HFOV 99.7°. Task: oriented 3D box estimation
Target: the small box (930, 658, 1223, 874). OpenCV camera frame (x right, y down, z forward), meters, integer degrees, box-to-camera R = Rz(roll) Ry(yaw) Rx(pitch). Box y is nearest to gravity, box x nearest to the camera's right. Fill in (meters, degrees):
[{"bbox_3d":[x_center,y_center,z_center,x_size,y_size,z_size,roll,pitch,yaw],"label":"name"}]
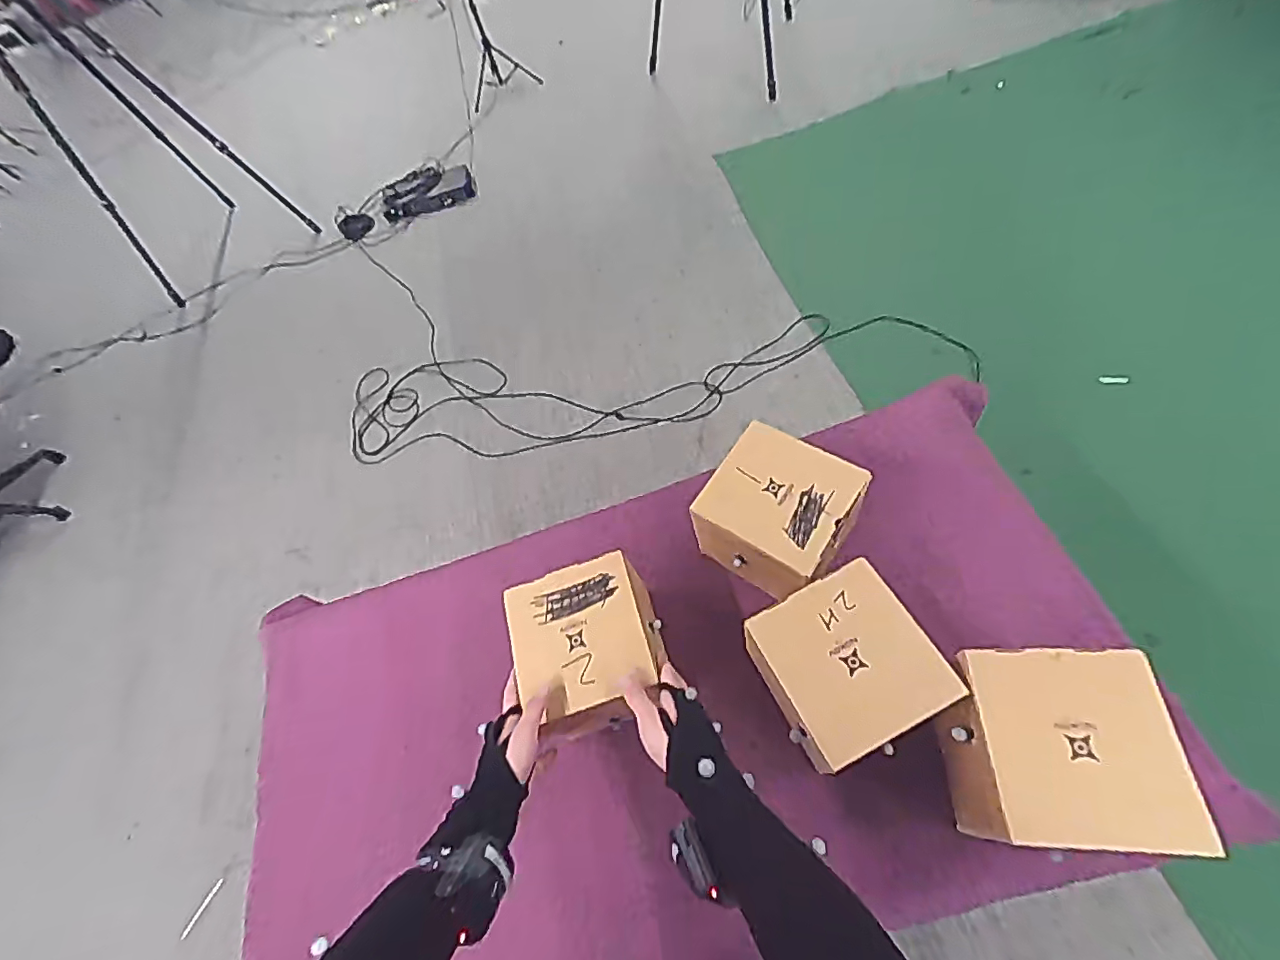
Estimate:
[{"bbox_3d":[0.432,0.298,0.577,0.168,0.176,0.179,-4,58,12],"label":"small box"}]
